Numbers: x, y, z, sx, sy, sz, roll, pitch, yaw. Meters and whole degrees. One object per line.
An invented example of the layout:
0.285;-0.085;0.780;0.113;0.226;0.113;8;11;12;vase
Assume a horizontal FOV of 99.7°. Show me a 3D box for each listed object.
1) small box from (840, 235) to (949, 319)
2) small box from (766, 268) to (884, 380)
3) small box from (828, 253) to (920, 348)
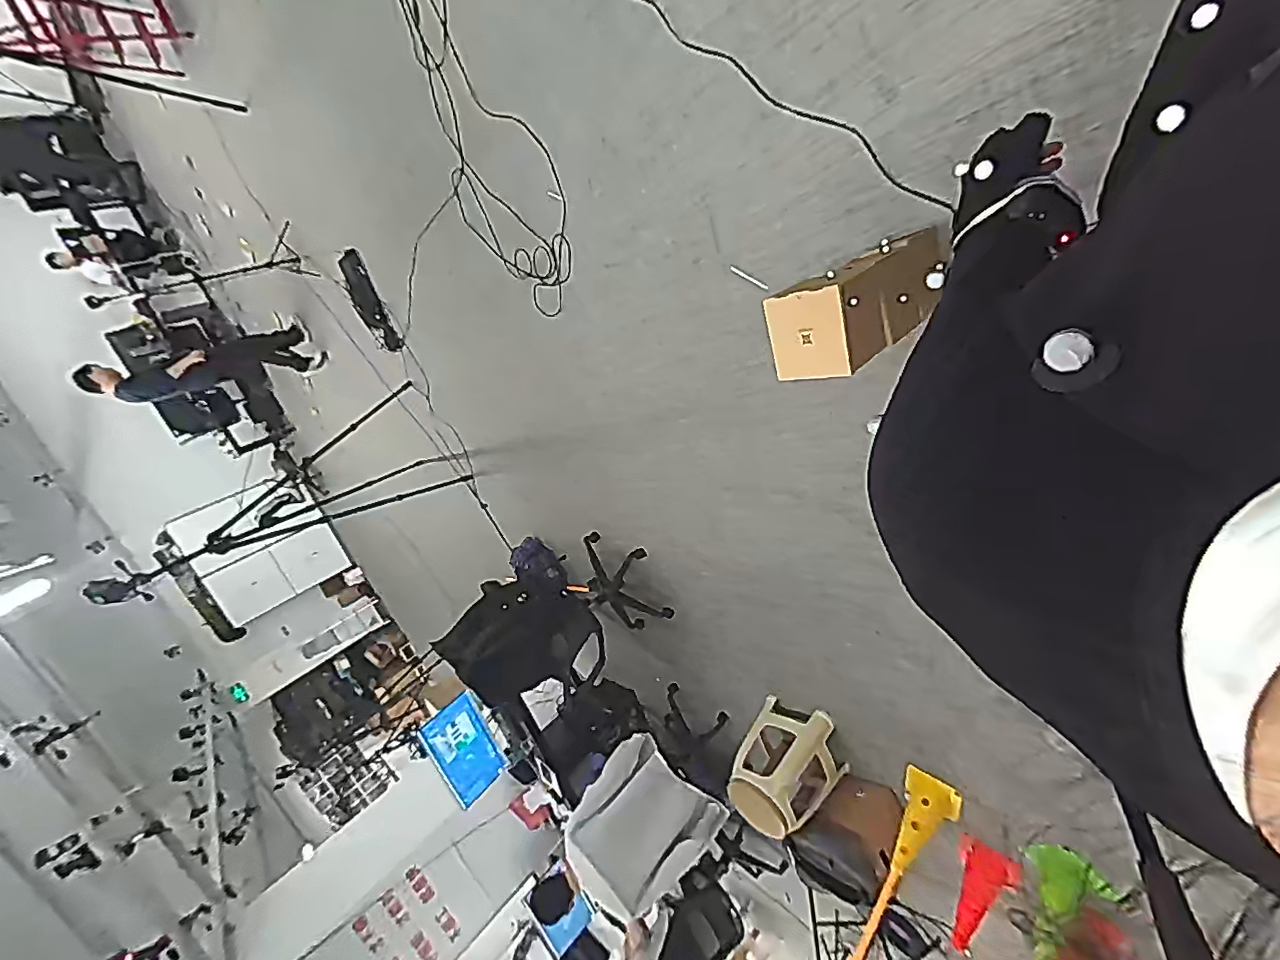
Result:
0.618;-0.475;1.310;0.168;0.176;0.179;-3;113;53;small box
0.390;-0.322;1.127;0.168;0.176;0.179;6;121;46;small box
0.505;-0.395;1.217;0.168;0.176;0.179;0;118;49;small box
